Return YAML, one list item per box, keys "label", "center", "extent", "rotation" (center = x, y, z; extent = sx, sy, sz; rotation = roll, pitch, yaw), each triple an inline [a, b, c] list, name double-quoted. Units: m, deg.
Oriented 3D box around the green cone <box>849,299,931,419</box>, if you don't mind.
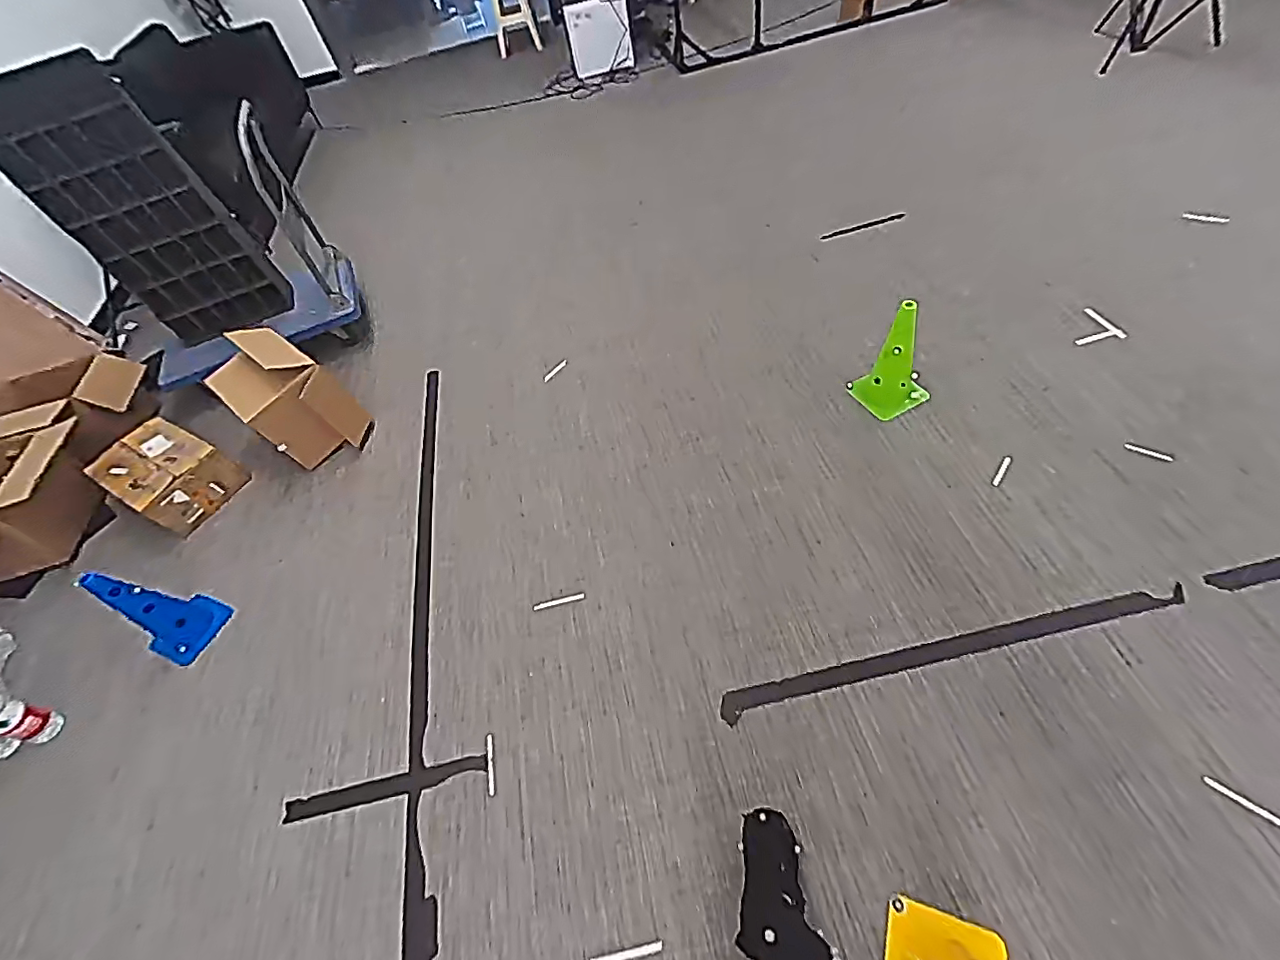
- label: "green cone"
  center: [0.816, -0.399, 1.694]
  extent: [0.202, 0.368, 0.200]
  rotation: [-27, 53, -10]
